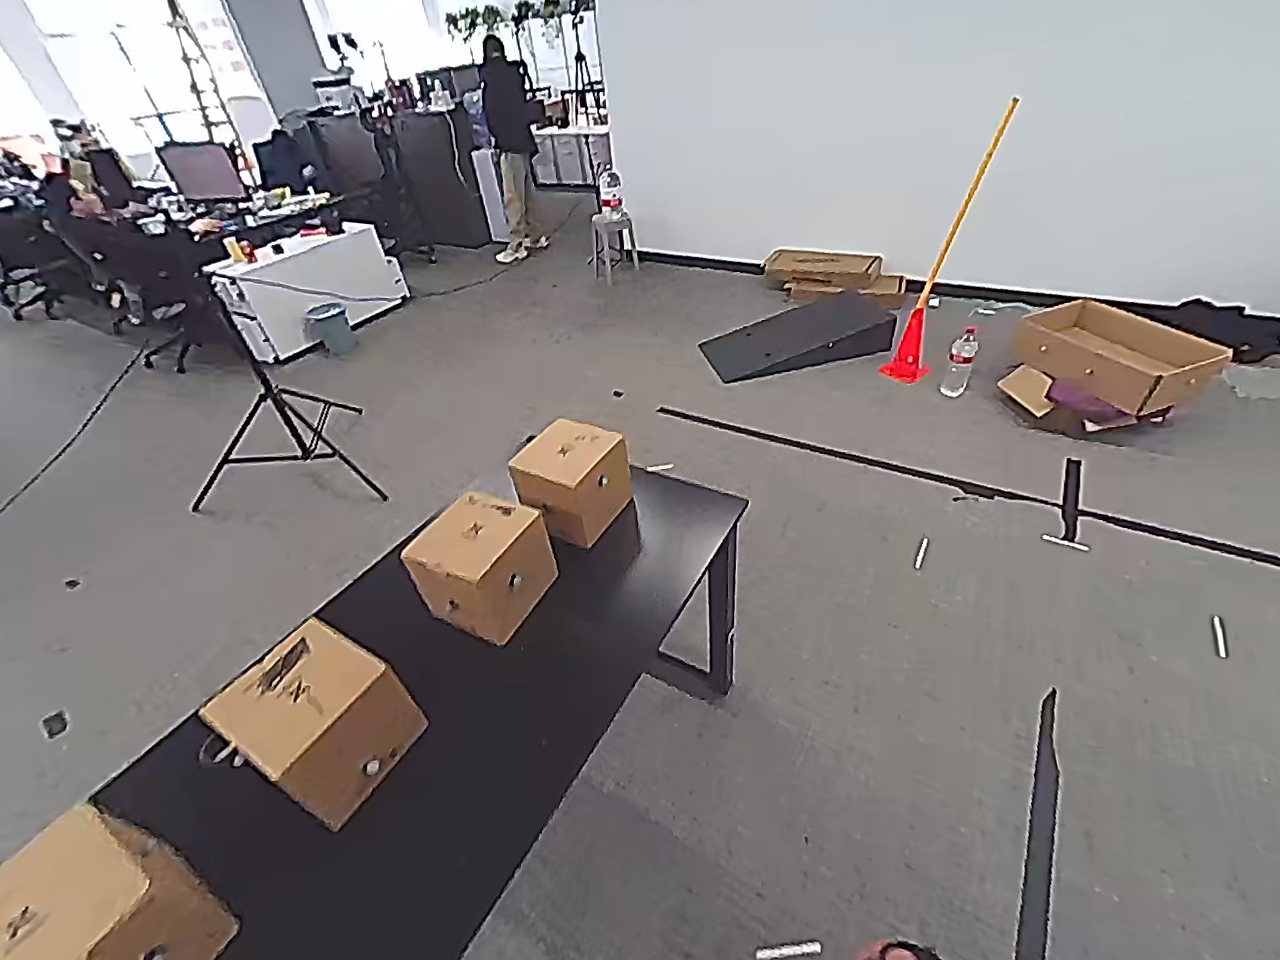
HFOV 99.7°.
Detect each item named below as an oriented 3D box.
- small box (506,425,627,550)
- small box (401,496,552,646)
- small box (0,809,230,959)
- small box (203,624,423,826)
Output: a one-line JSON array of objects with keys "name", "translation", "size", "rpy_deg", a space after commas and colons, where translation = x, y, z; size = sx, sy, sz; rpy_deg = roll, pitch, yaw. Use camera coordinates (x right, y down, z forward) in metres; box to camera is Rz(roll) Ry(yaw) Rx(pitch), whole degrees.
[{"name": "small box", "translation": [-0.140, 0.016, 1.113], "size": [0.168, 0.176, 0.179], "rpy_deg": [18, 45, 26]}, {"name": "small box", "translation": [-0.276, 0.161, 0.958], "size": [0.168, 0.176, 0.179], "rpy_deg": [15, 44, 24]}, {"name": "small box", "translation": [-0.600, 0.507, 0.582], "size": [0.179, 0.176, 0.168], "rpy_deg": [16, 43, 26]}, {"name": "small box", "translation": [-0.445, 0.343, 0.760], "size": [0.179, 0.176, 0.168], "rpy_deg": [18, 45, 26]}]
